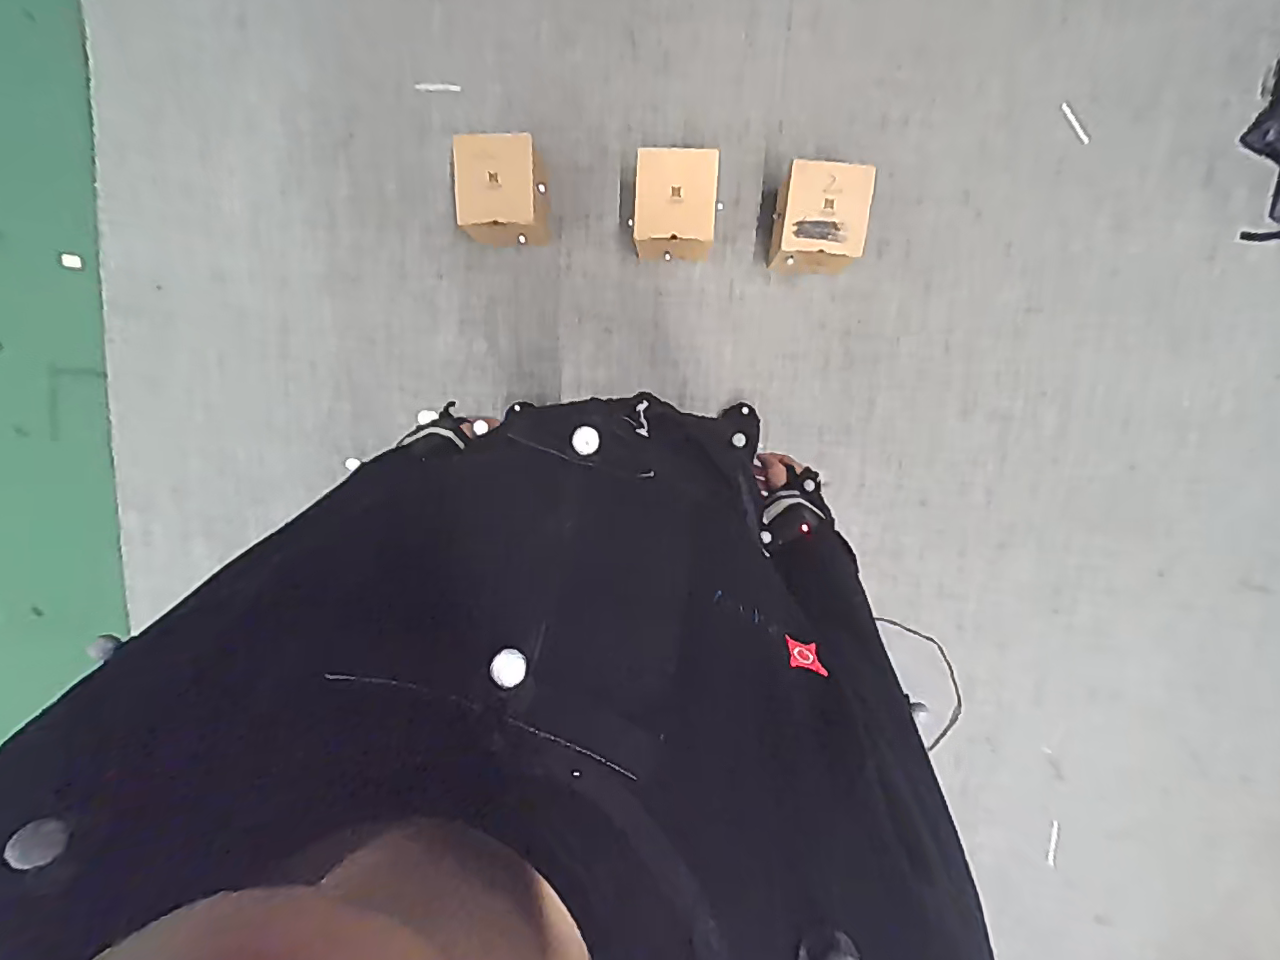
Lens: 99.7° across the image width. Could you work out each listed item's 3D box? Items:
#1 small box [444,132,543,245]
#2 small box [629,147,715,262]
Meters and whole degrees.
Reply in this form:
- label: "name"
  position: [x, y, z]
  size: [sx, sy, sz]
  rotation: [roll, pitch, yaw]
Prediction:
- label: "small box"
  position: [-0.309, -0.620, 1.172]
  size: [0.168, 0.176, 0.179]
  rotation: [0, 98, 2]
- label: "small box"
  position: [0.065, -0.581, 1.158]
  size: [0.168, 0.176, 0.179]
  rotation: [3, 99, 2]
